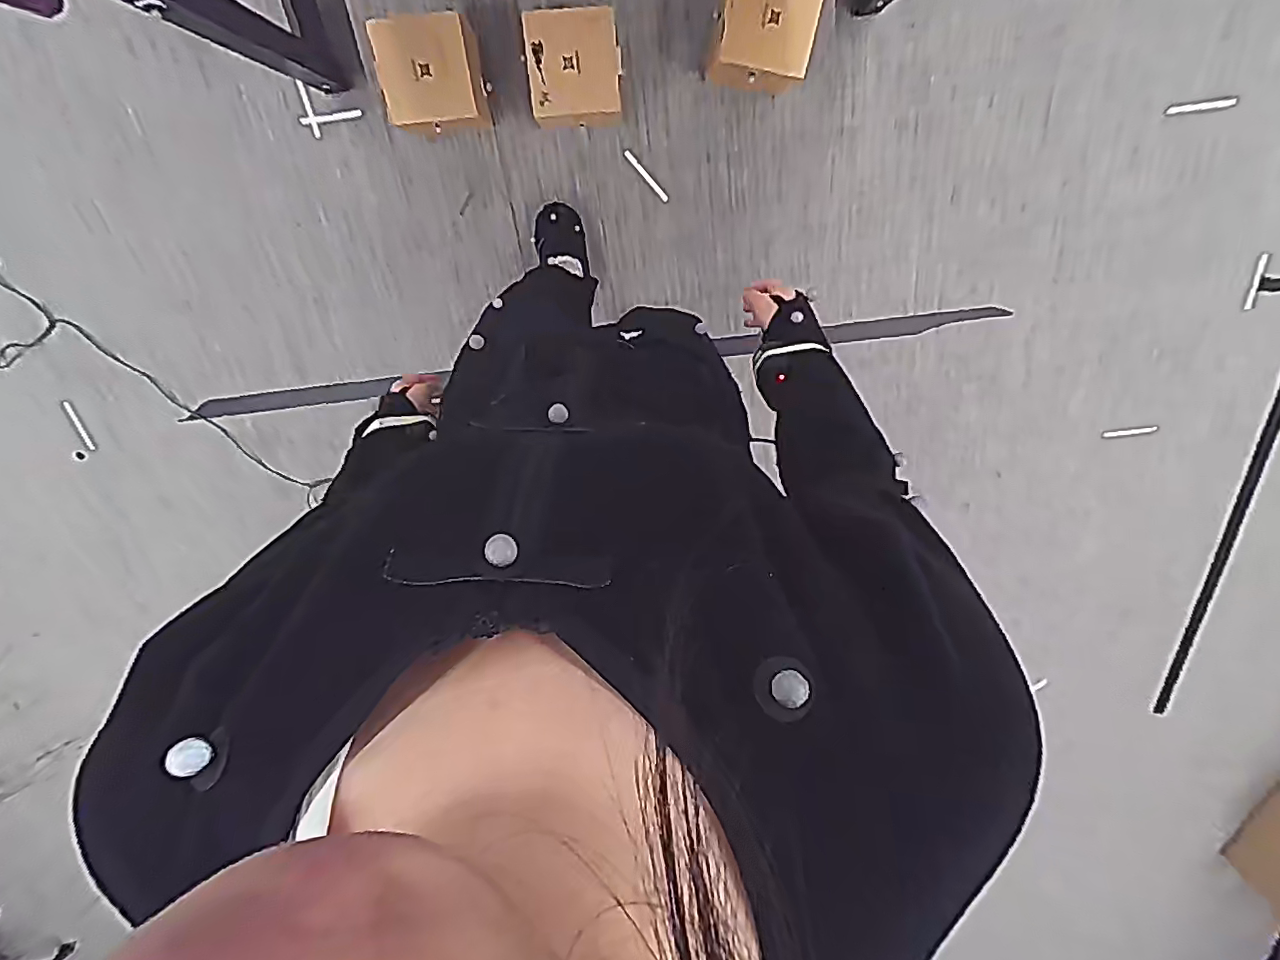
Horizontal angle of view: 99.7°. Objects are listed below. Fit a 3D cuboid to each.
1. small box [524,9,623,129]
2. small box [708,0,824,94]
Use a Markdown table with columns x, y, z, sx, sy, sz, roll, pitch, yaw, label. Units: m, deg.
| x | y | z | sx | sy | sz | roll | pitch | yaw | label |
| --- | --- | --- | --- | --- | --- | --- | --- | --- | --- |
| -0.128 | -0.823 | 1.096 | 0.179 | 0.176 | 0.168 | -3 | 116 | -1 | small box |
| 0.245 | -0.894 | 1.077 | 0.179 | 0.176 | 0.168 | 8 | 115 | -5 | small box |
